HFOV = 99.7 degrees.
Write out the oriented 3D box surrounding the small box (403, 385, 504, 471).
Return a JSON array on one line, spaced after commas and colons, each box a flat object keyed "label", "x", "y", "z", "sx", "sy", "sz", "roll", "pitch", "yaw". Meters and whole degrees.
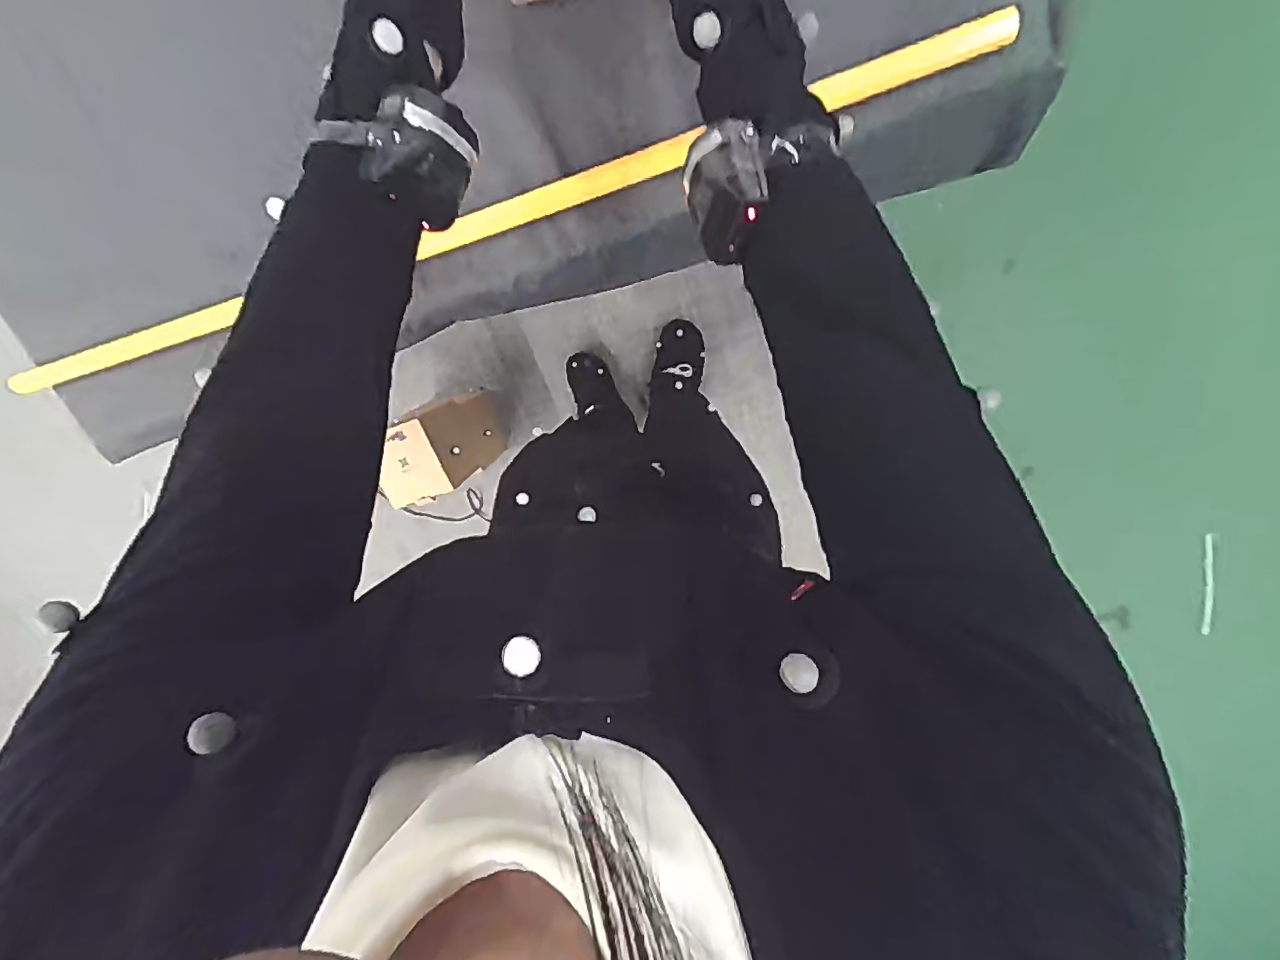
[{"label": "small box", "x": -0.474, "y": -0.140, "z": 1.402, "sx": 0.168, "sy": 0.176, "sz": 0.179, "roll": -7, "pitch": 113, "yaw": 11}]
